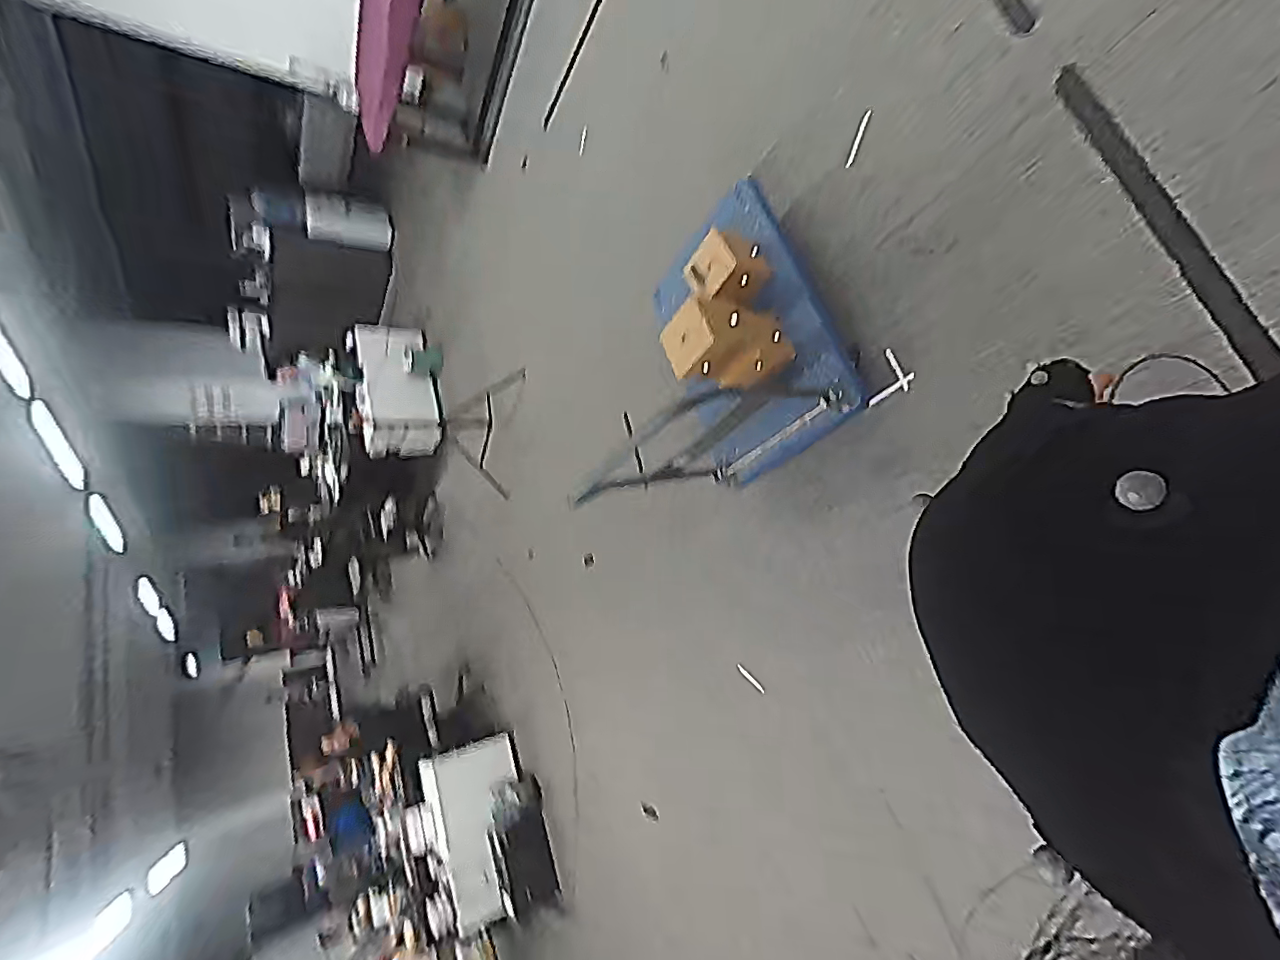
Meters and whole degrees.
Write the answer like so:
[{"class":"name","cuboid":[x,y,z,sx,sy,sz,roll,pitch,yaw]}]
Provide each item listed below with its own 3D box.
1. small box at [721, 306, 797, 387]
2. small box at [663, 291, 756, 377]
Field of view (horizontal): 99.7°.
[{"class":"small box","cuboid":[0.340,-0.398,1.647,0.179,0.176,0.168,-43,60,46]},{"class":"small box","cuboid":[0.200,-0.411,1.558,0.179,0.176,0.168,-43,60,46]}]
